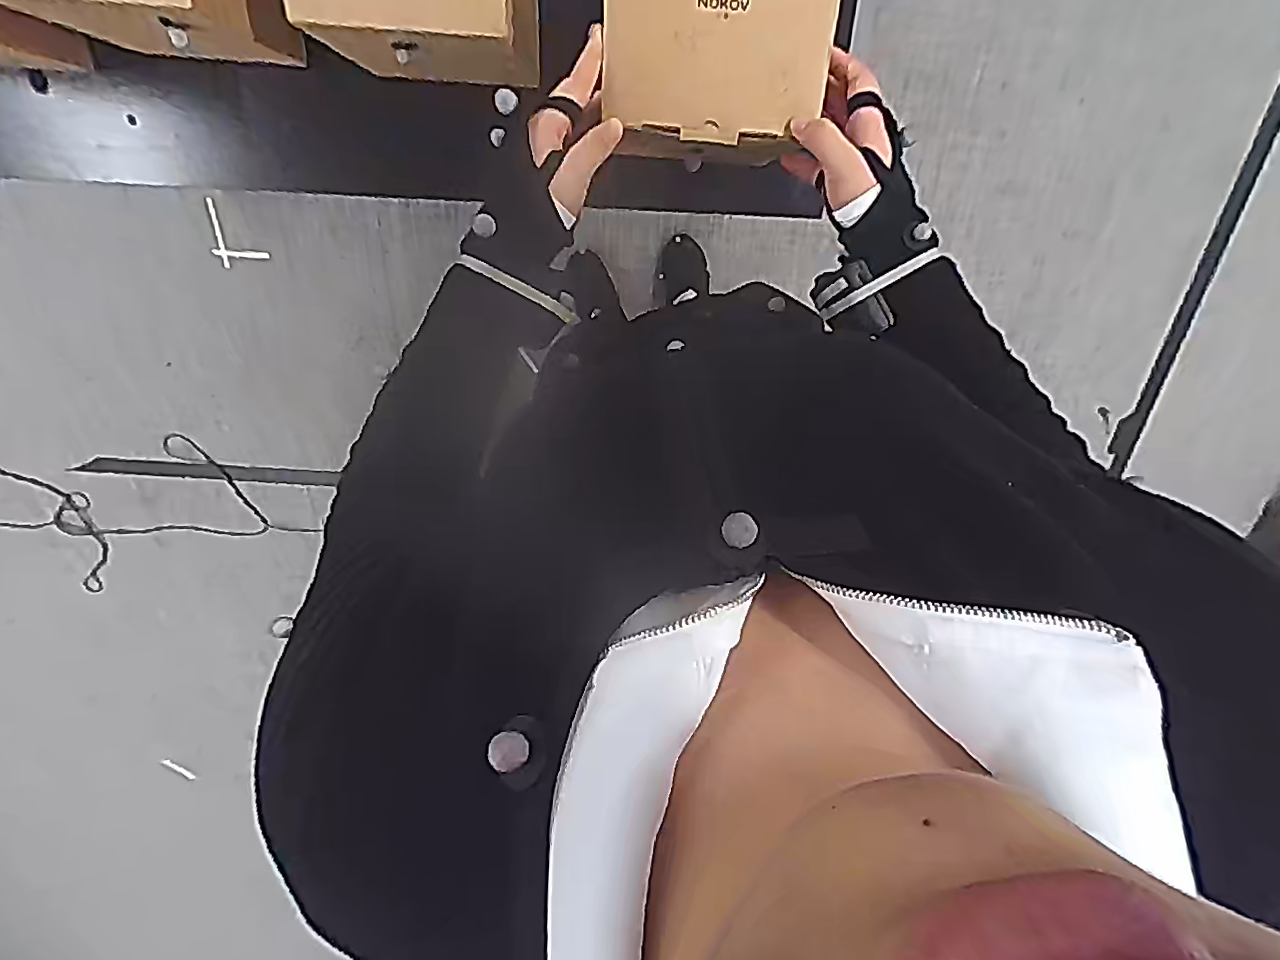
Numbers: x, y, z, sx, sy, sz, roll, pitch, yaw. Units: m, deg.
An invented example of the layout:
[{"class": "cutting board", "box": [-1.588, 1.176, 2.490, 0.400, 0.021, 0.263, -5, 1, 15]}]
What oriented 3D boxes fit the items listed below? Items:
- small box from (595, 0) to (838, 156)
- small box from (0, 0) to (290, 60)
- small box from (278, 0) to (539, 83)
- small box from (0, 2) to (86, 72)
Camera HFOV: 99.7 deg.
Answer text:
[{"class": "small box", "box": [0.053, -0.371, 0.436, 0.168, 0.176, 0.179, 2, 116, -3]}, {"class": "small box", "box": [-0.429, -0.478, 0.453, 0.179, 0.176, 0.168, 3, 115, -2]}, {"class": "small box", "box": [-0.188, -0.462, 0.463, 0.179, 0.176, 0.168, 3, 115, -2]}, {"class": "small box", "box": [-0.649, -0.475, 0.454, 0.168, 0.176, 0.179, 2, 116, 0]}]
